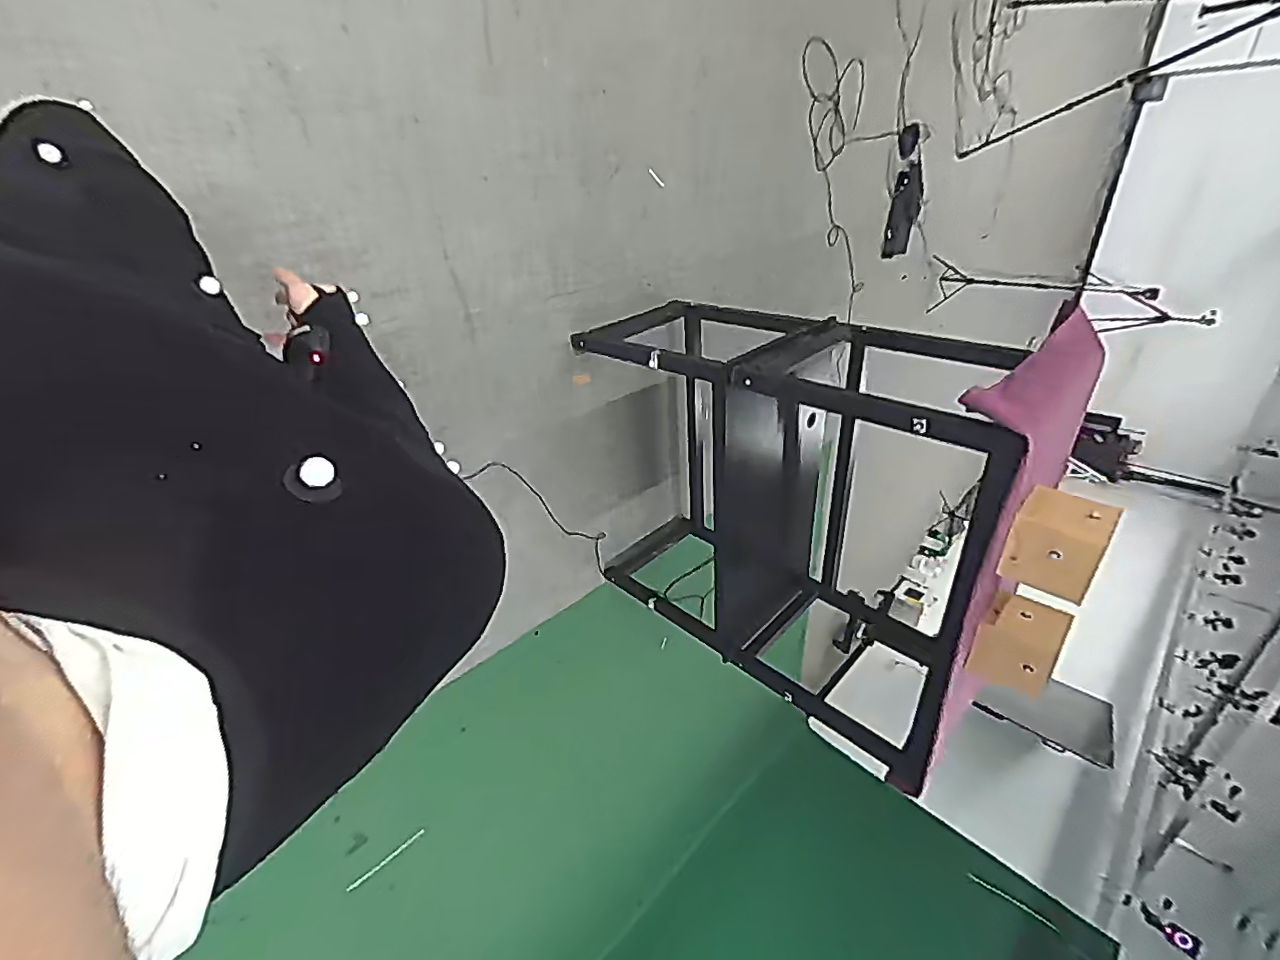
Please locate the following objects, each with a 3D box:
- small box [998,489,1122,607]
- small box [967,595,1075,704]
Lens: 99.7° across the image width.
[{"bbox_3d":[0.927,0.143,1.205,0.179,0.176,0.168,-30,128,-36],"label":"small box"},{"bbox_3d":[0.948,0.412,1.356,0.168,0.176,0.179,-29,128,-36],"label":"small box"}]
